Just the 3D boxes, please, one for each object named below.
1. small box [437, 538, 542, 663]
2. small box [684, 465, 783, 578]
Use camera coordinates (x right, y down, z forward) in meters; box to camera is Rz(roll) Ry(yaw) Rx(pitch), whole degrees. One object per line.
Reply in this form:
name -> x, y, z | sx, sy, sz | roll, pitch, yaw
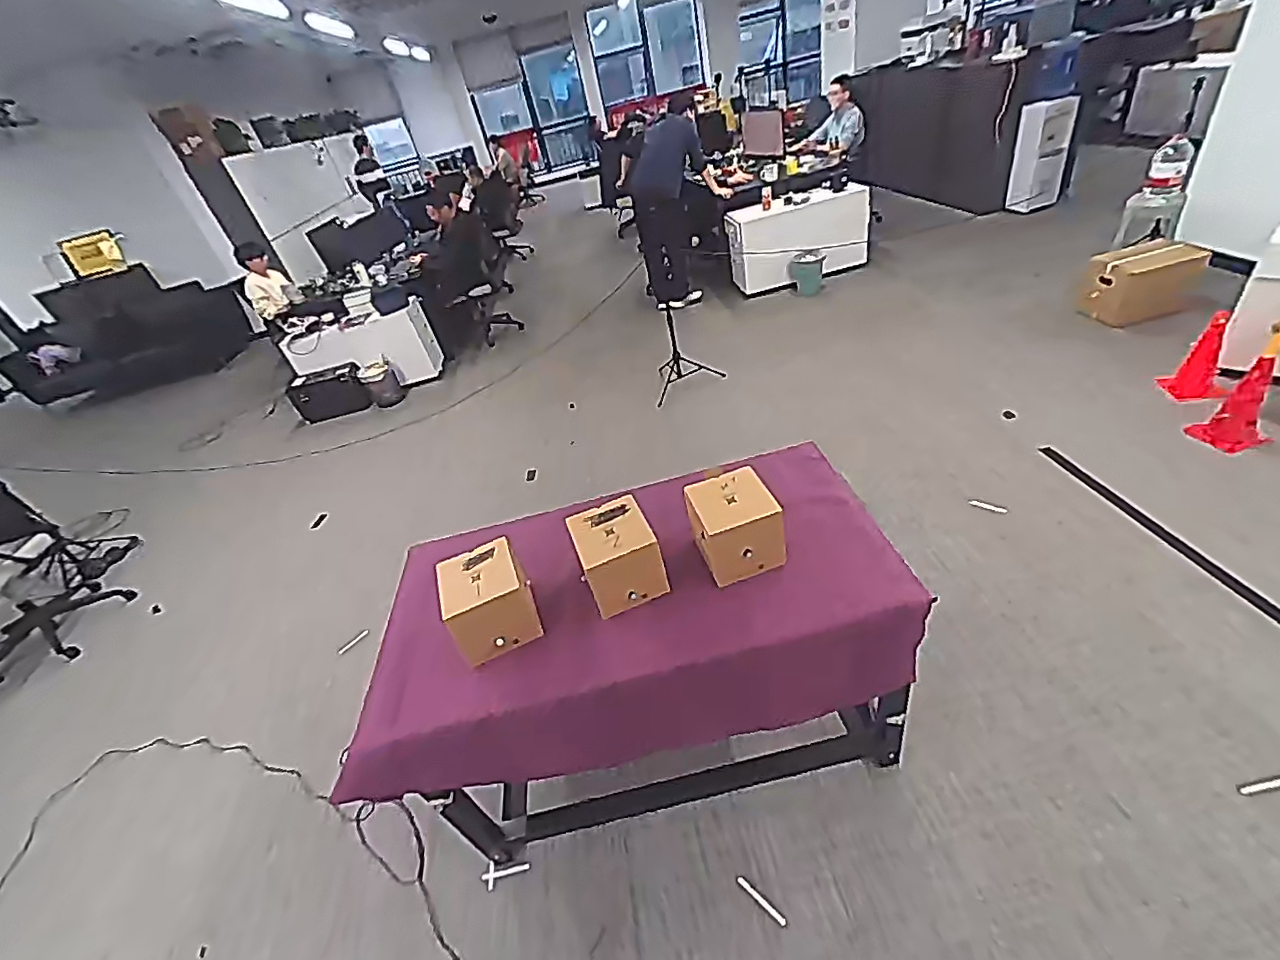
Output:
small box -> -0.334, 0.268, 1.204 | 0.168, 0.176, 0.179 | -23, 38, -10
small box -> 0.213, 0.099, 1.223 | 0.168, 0.176, 0.179 | -18, 36, -4
